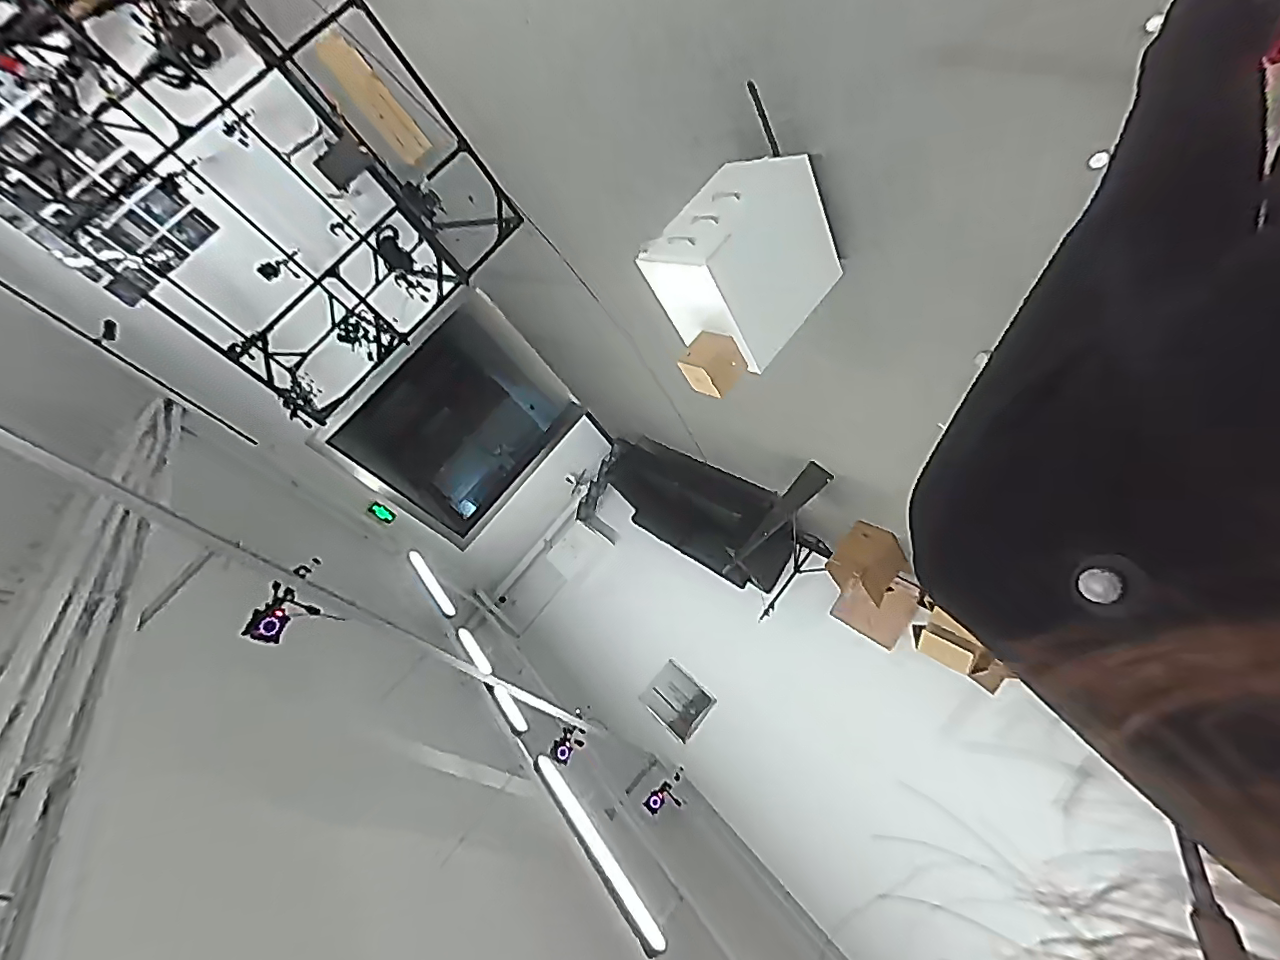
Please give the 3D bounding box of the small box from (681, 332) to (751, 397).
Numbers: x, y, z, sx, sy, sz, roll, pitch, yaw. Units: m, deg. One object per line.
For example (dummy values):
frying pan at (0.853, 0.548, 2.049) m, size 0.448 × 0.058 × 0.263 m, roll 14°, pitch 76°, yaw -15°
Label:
small box at (0.297, -0.454, 2.096) m, size 0.179 × 0.176 × 0.168 m, roll 31°, pitch 167°, yaw 48°
